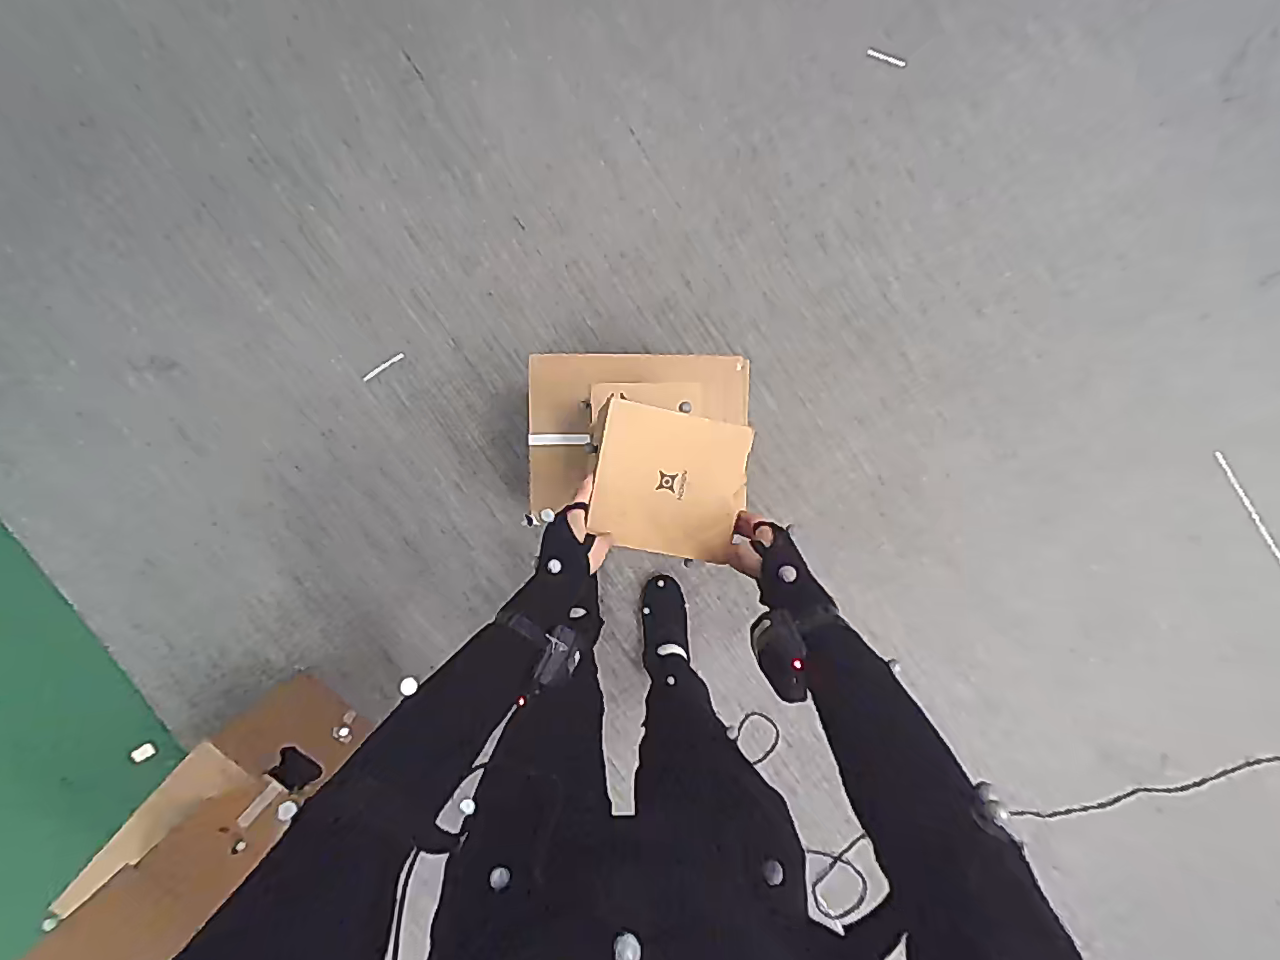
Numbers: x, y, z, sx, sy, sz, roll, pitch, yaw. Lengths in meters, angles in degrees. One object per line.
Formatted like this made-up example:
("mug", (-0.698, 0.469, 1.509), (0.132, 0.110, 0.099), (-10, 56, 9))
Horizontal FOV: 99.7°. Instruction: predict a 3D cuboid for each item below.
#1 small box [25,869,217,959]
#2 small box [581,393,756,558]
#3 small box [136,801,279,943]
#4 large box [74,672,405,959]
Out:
("small box", (-0.731, 0.679, 0.719), (0.168, 0.176, 0.179), (-43, 95, -2))
("small box", (0.024, -0.005, 0.694), (0.179, 0.176, 0.168), (10, 91, -10))
("small box", (-0.747, 0.683, 0.882), (0.168, 0.176, 0.179), (45, 88, -6))
("large box", (-0.782, 0.694, 1.126), (0.320, 0.320, 0.408), (41, 90, -3))
